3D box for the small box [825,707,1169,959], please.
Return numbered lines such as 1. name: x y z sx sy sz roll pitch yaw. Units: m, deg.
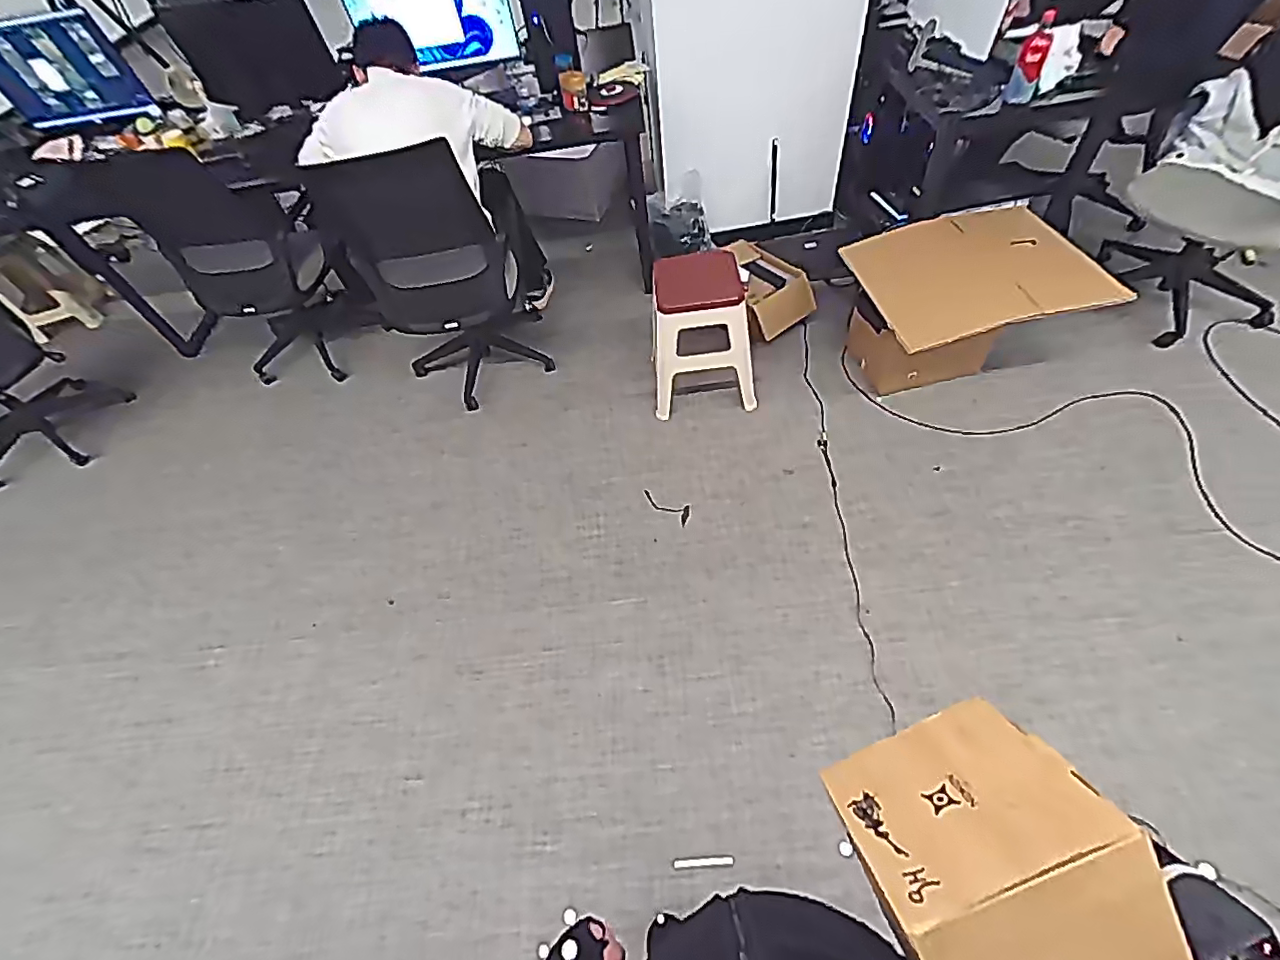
1. small box: 0.297 0.342 0.467 0.179 0.168 0.176 -25 98 1
